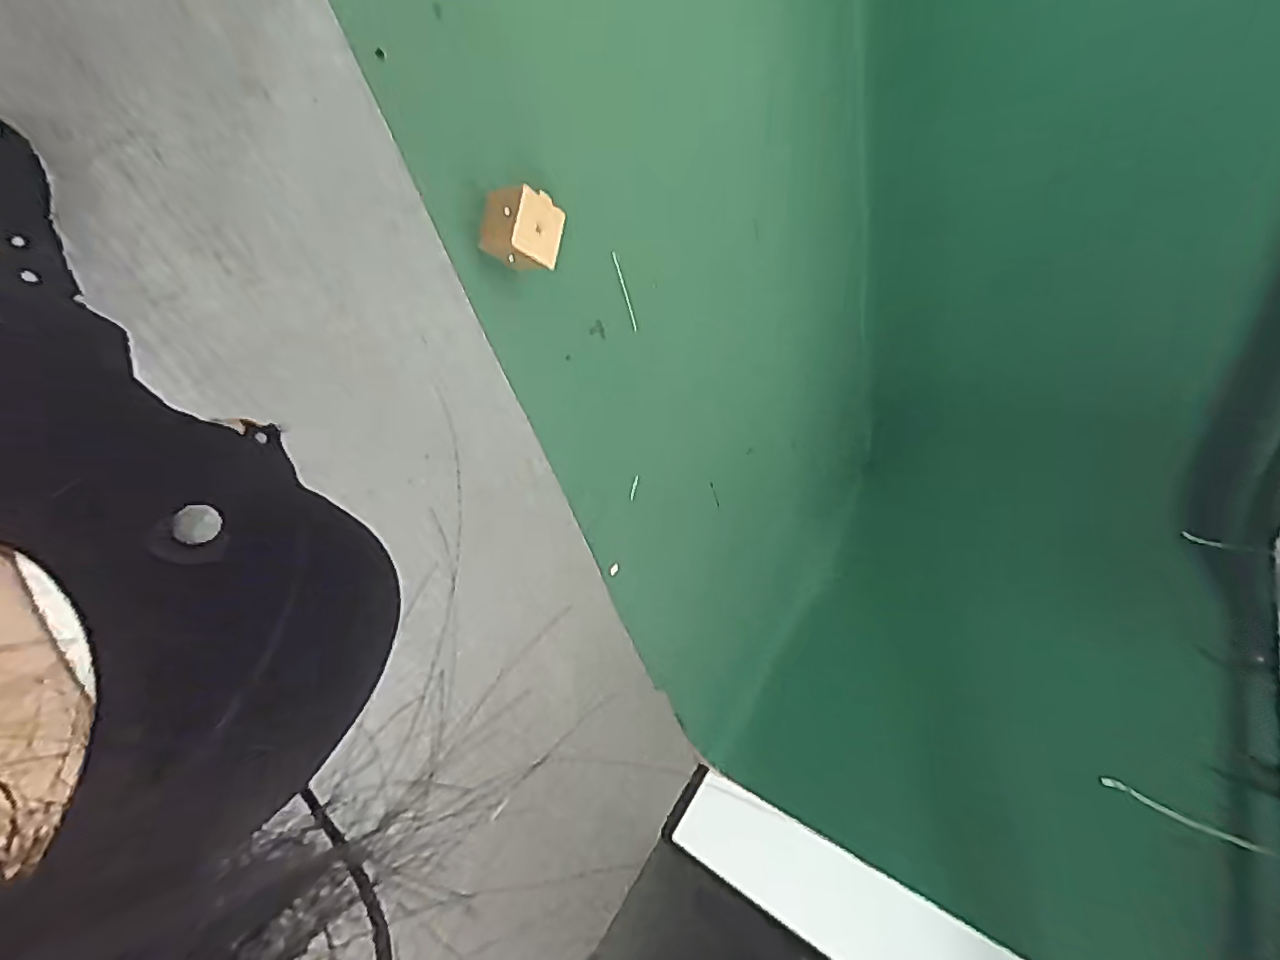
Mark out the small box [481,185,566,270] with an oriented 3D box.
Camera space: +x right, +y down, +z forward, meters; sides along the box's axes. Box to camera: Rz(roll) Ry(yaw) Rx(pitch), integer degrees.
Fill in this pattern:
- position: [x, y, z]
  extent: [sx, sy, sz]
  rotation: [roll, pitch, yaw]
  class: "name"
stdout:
- position: [-0.354, -0.747, 1.624]
  extent: [0.168, 0.176, 0.179]
  rotation: [11, 92, -52]
  class: "small box"
